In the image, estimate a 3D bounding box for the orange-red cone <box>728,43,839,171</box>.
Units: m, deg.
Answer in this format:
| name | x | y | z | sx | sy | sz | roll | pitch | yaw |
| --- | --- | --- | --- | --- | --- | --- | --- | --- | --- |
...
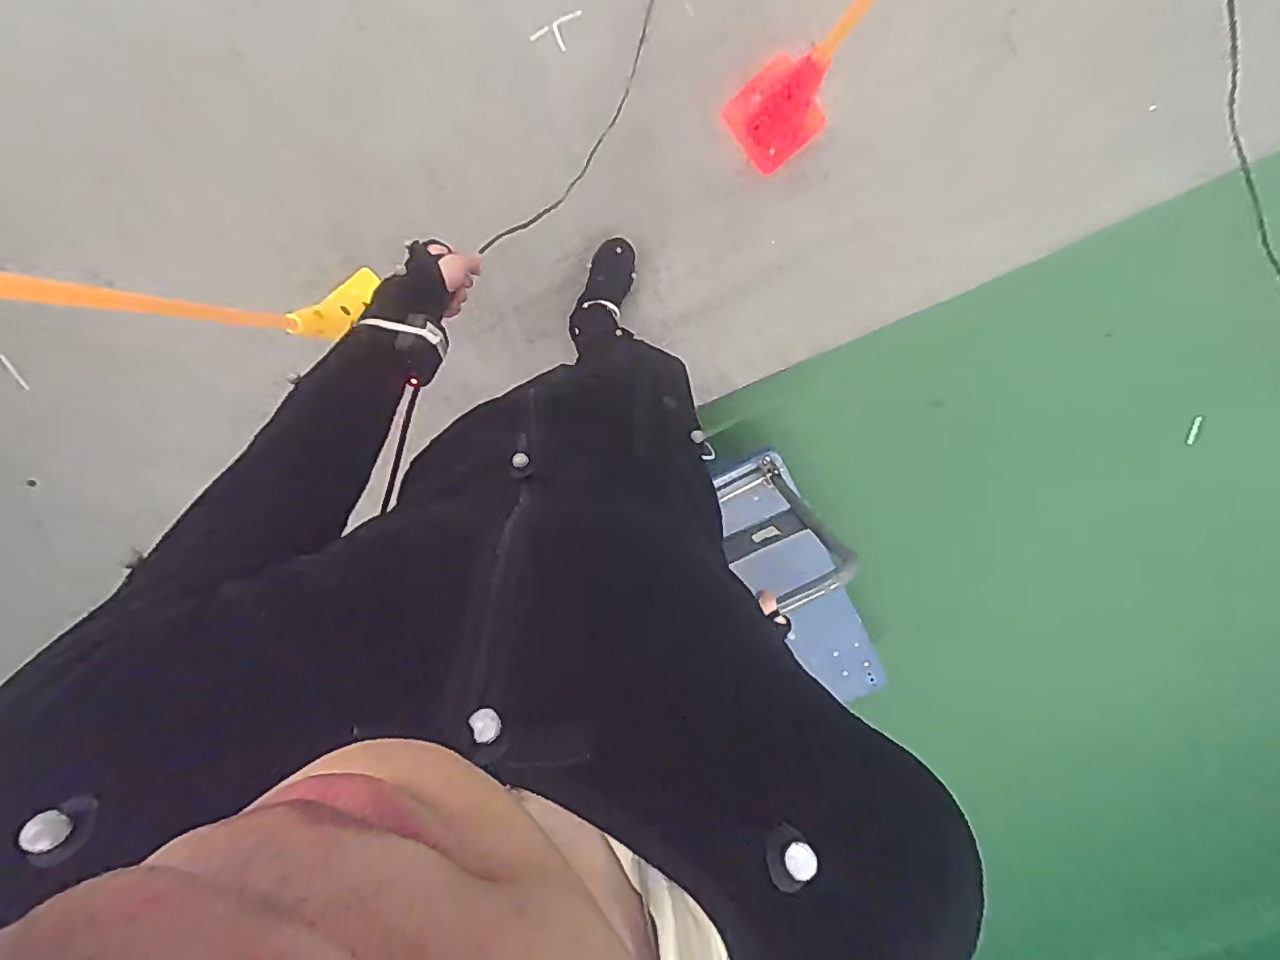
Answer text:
| name | x | y | z | sx | sy | sz | roll | pitch | yaw |
| --- | --- | --- | --- | --- | --- | --- | --- | --- | --- |
| orange-red cone | 0.348 | -0.851 | 1.172 | 0.199 | 0.360 | 0.198 | -37 | 106 | 9 |
